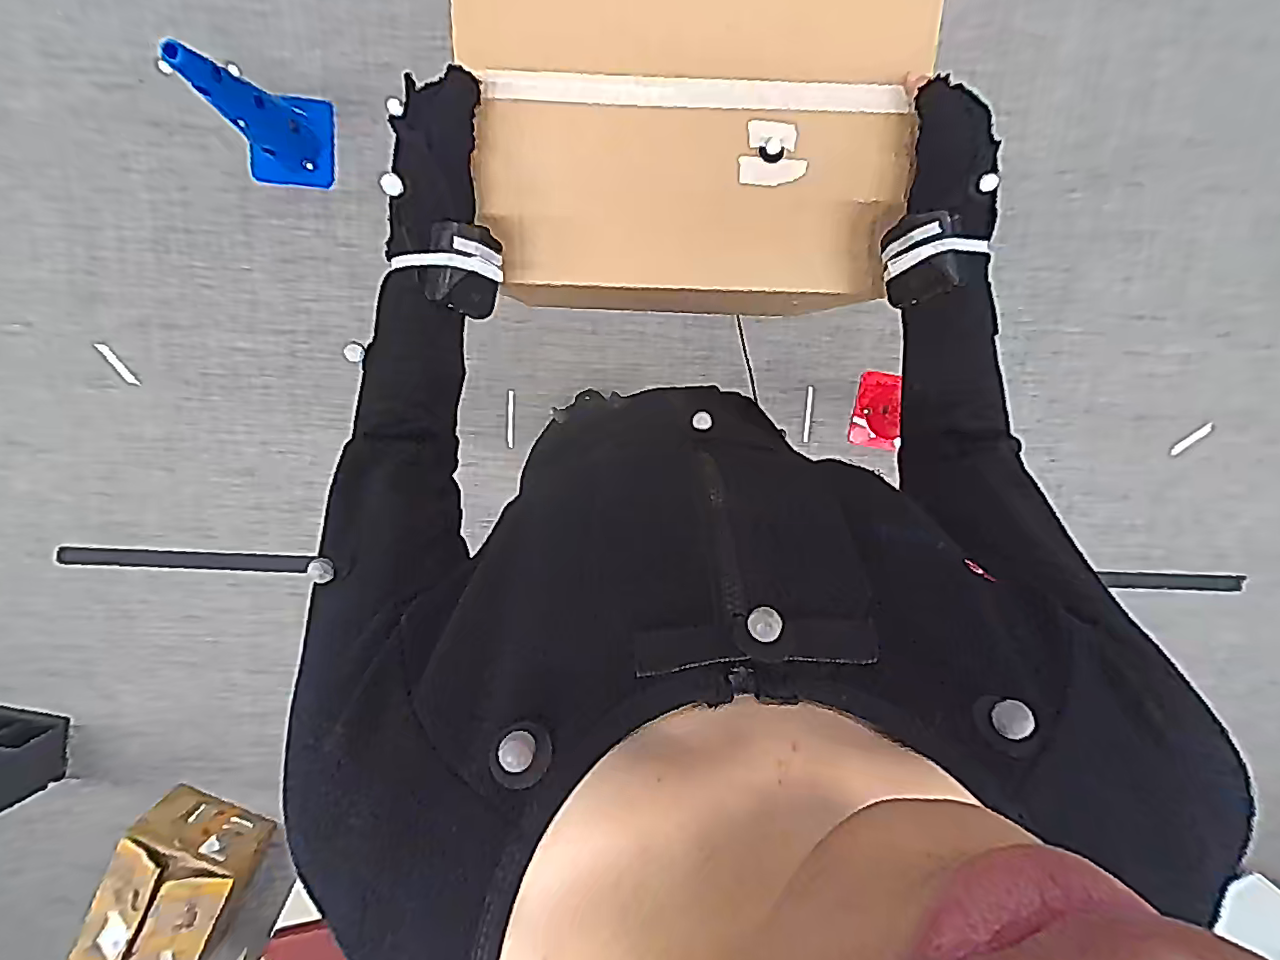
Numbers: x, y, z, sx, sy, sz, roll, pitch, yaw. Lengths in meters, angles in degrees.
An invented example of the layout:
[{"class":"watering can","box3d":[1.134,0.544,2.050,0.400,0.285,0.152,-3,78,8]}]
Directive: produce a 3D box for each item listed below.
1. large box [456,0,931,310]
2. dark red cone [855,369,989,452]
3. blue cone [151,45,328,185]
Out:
[{"class":"large box","box3d":[0.038,-0.365,0.610,0.408,0.320,0.320,1,104,-3]},{"class":"dark red cone","box3d":[0.680,-0.154,1.267,0.201,0.394,0.202,8,99,-2]},{"class":"blue cone","box3d":[-0.858,-0.799,1.160,0.192,0.380,0.193,6,99,-1]}]
